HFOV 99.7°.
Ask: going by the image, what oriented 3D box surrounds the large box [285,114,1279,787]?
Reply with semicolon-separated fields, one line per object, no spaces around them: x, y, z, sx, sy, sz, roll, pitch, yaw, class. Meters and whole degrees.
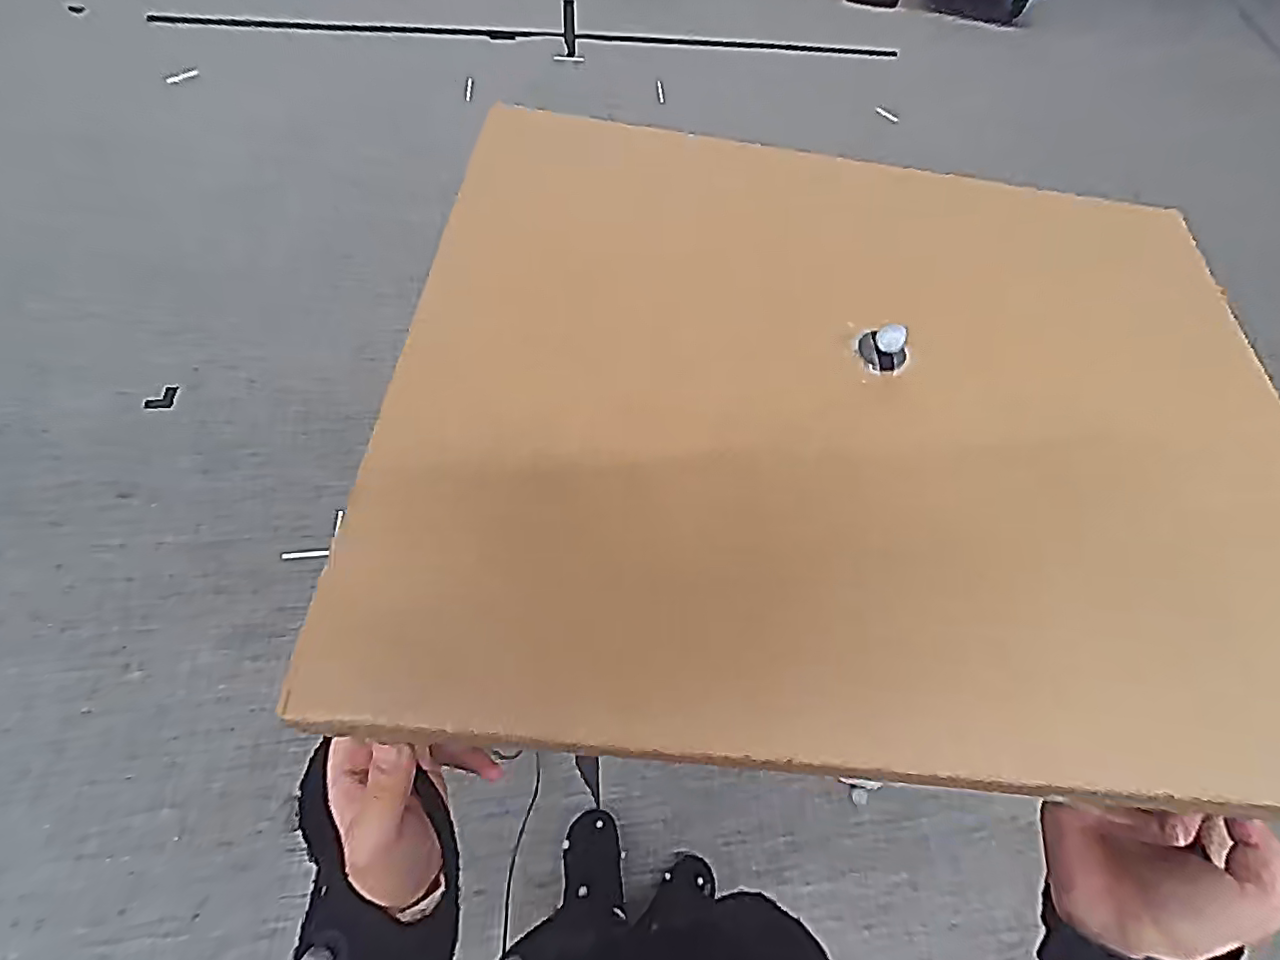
0.083;0.011;0.368;0.408;0.320;0.320;5;65;-3;large box
